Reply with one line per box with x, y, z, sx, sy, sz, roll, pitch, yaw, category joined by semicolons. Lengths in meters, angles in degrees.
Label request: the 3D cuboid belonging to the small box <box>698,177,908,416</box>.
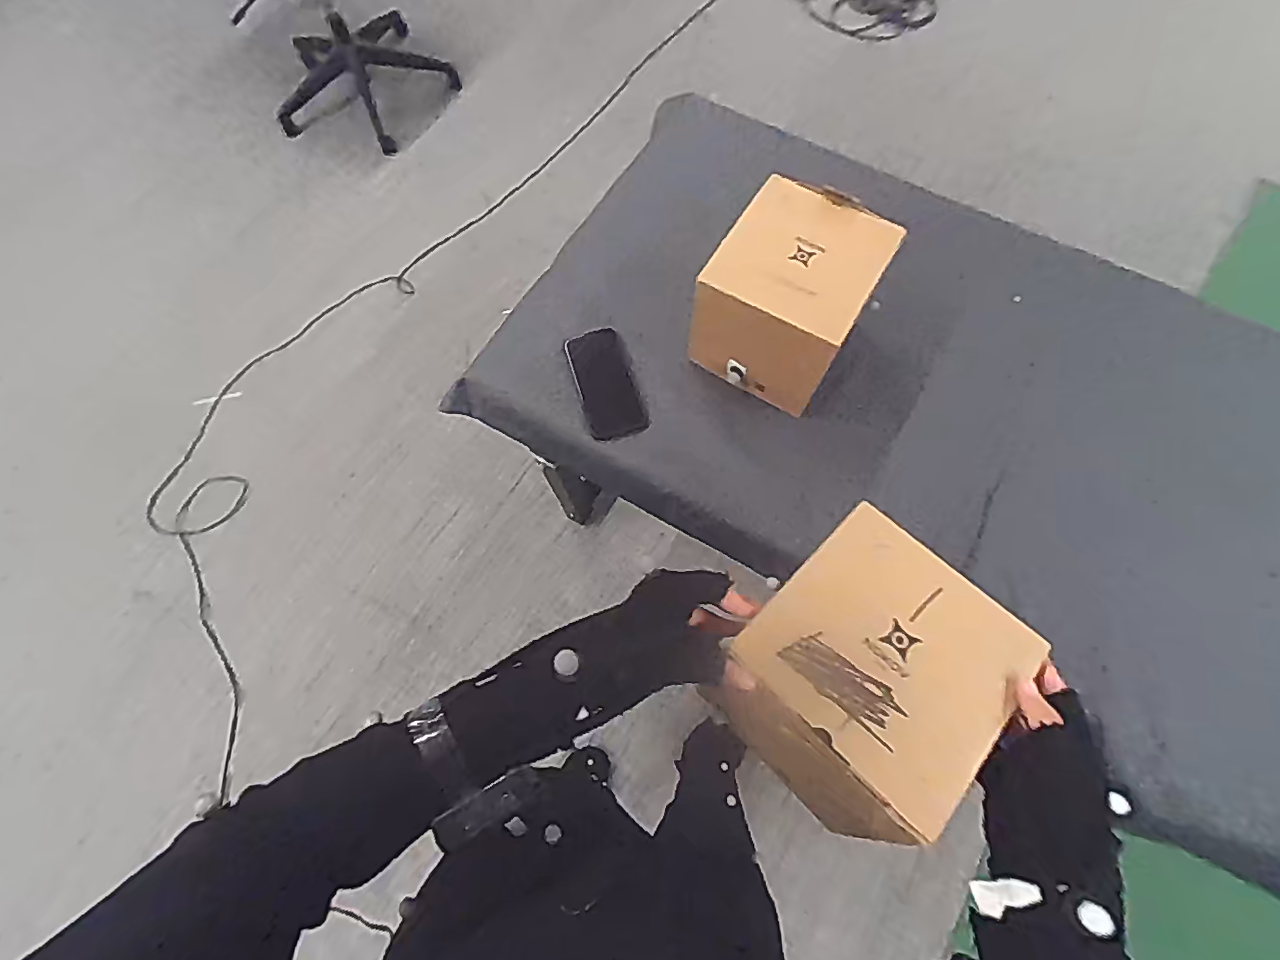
0.180;-0.210;0.652;0.168;0.176;0.179;30;75;12;small box
